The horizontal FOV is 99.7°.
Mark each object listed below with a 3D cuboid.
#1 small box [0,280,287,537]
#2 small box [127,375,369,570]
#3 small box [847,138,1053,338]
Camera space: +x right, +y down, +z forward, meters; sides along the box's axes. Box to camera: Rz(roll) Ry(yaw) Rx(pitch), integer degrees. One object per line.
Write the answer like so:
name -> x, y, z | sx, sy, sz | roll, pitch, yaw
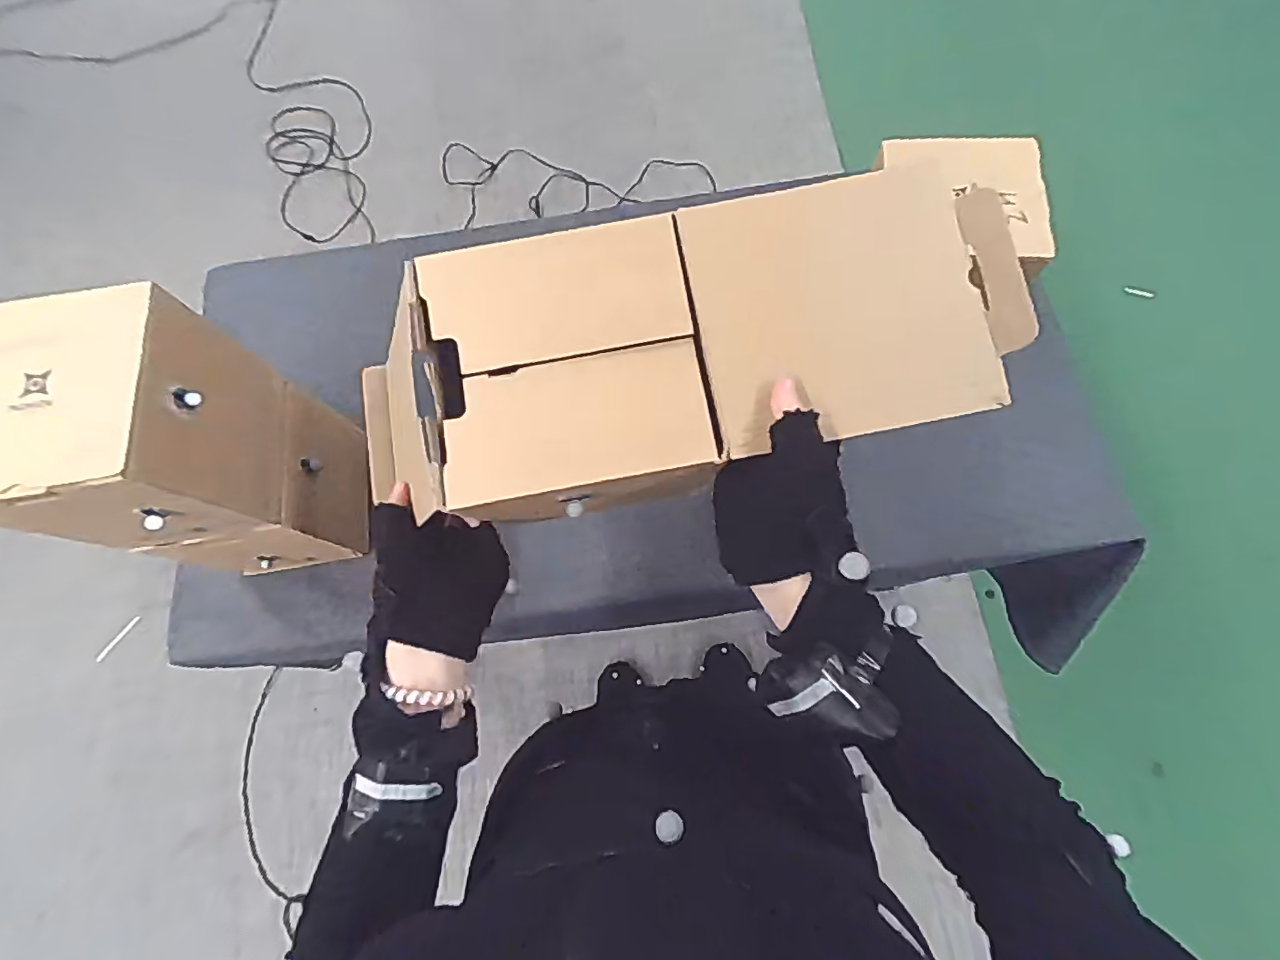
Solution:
small box -> -0.461, -0.049, 0.497 | 0.168, 0.176, 0.179 | -8, 72, 0
small box -> -0.450, 0.000, 0.652 | 0.168, 0.176, 0.179 | -10, 73, 1
small box -> 0.369, -0.295, 0.684 | 0.179, 0.176, 0.168 | 4, 74, 5
